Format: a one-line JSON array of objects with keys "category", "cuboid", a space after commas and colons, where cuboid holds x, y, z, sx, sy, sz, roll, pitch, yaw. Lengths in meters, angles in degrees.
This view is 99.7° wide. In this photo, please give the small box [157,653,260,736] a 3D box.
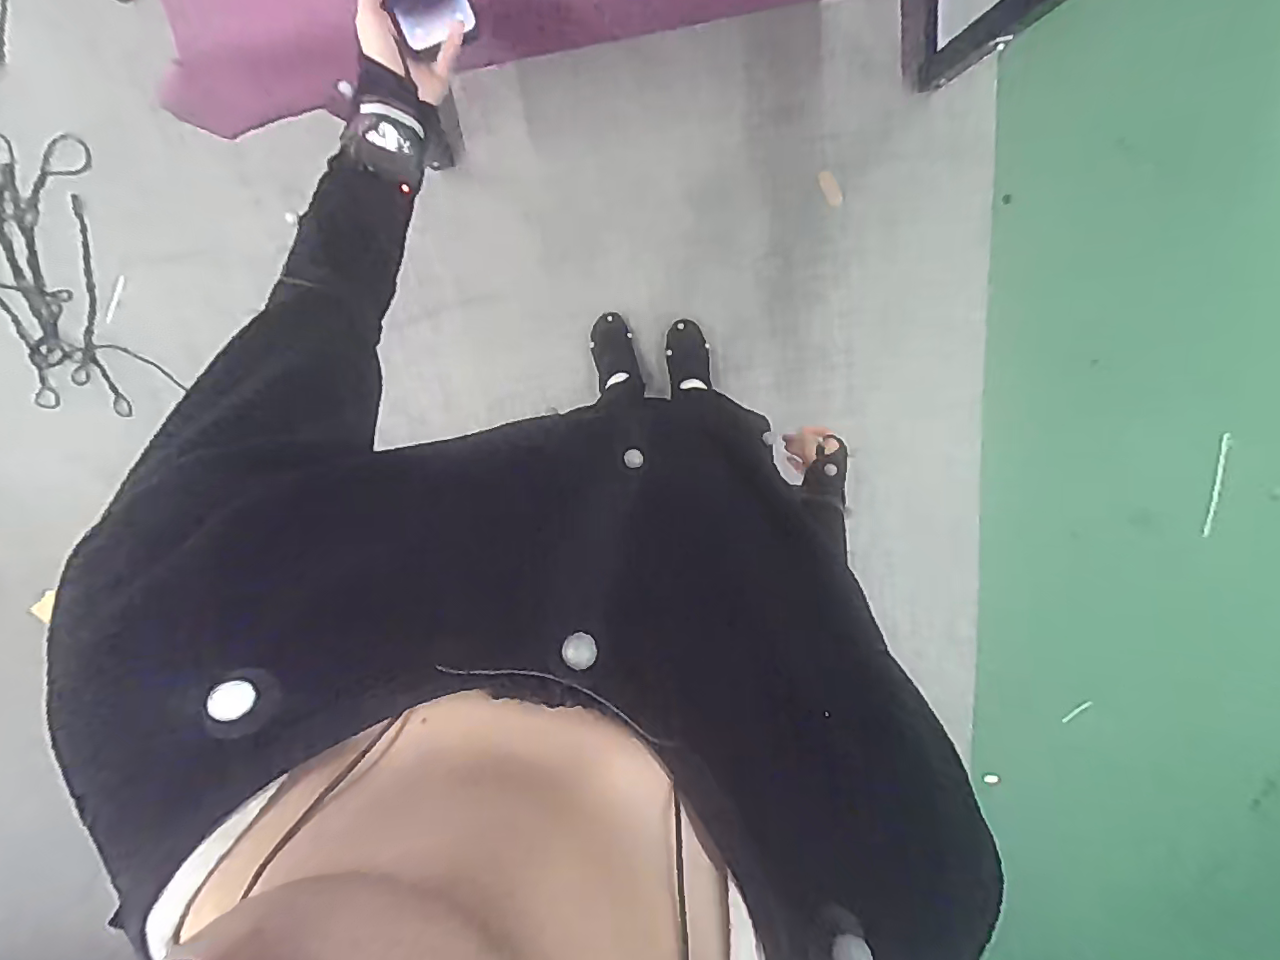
[{"category": "small box", "cuboid": [-1.334, 0.656, 1.675, 0.168, 0.176, 0.179, -9, 110, 4]}]
